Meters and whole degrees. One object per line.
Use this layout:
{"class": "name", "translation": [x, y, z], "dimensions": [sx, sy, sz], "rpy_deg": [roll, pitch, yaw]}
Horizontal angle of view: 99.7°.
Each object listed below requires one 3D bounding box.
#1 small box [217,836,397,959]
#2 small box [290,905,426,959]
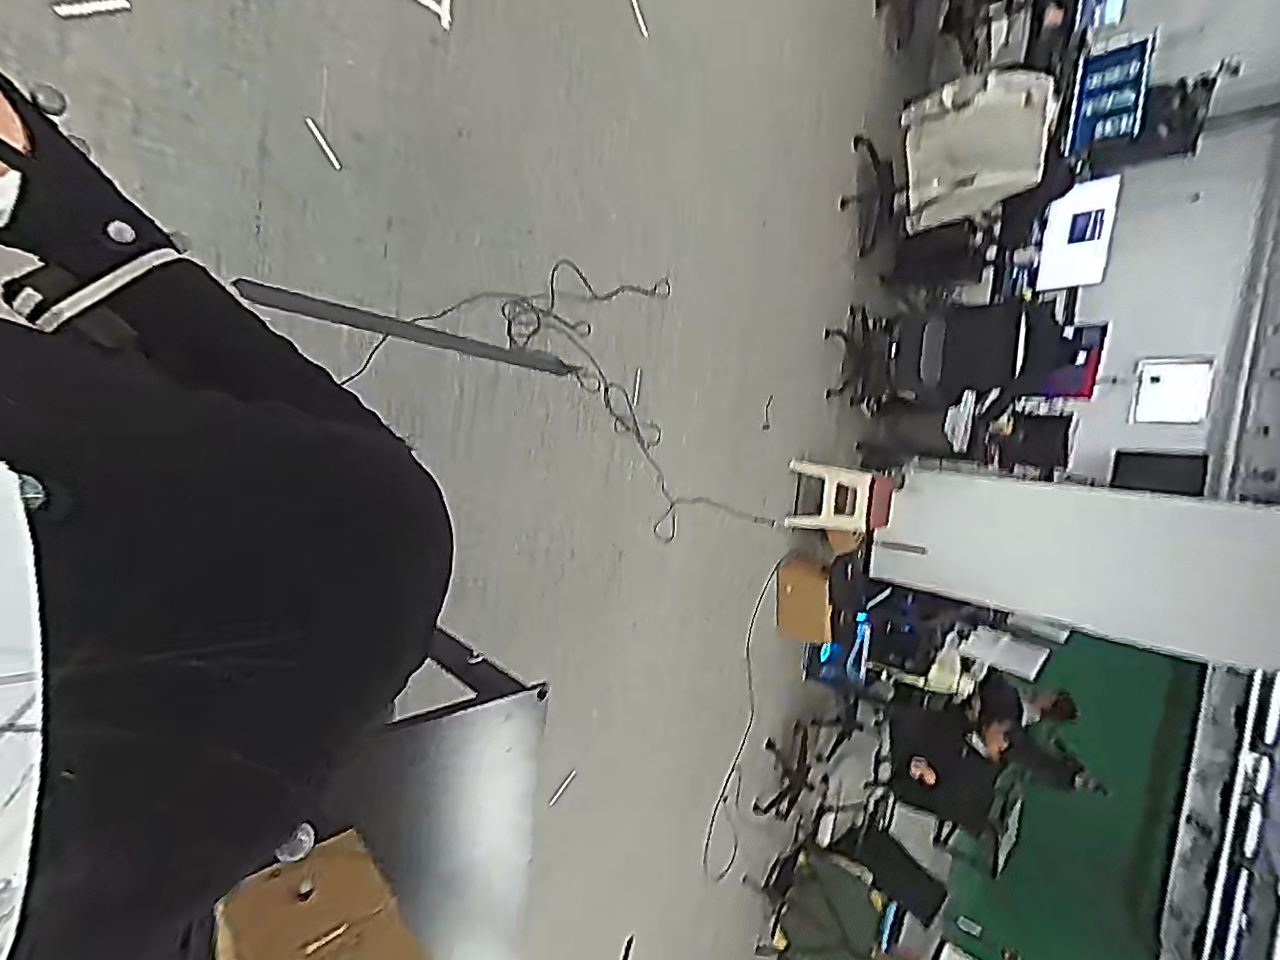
{"class": "small box", "translation": [-0.435, 0.610, 0.706], "dimensions": [0.168, 0.176, 0.179], "rpy_deg": [-4, 100, -46]}
{"class": "small box", "translation": [-0.316, 0.635, 0.592], "dimensions": [0.168, 0.176, 0.179], "rpy_deg": [-6, 101, -46]}
